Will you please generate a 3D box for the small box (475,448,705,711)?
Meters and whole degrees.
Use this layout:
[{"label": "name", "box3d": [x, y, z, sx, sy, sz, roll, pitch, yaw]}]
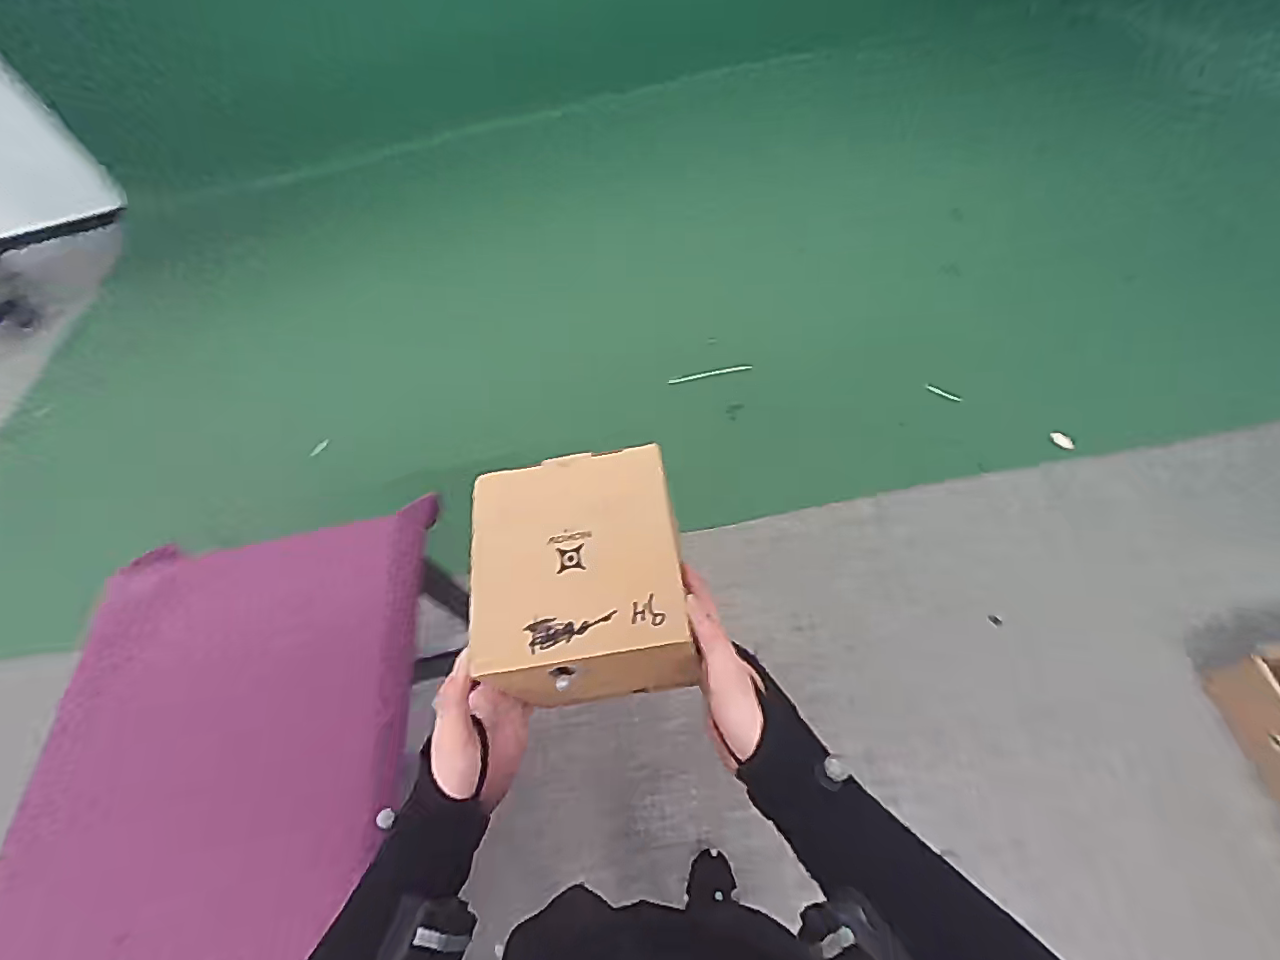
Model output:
[{"label": "small box", "box3d": [-0.036, 0.098, 0.498, 0.168, 0.176, 0.179, -10, 57, 5]}]
